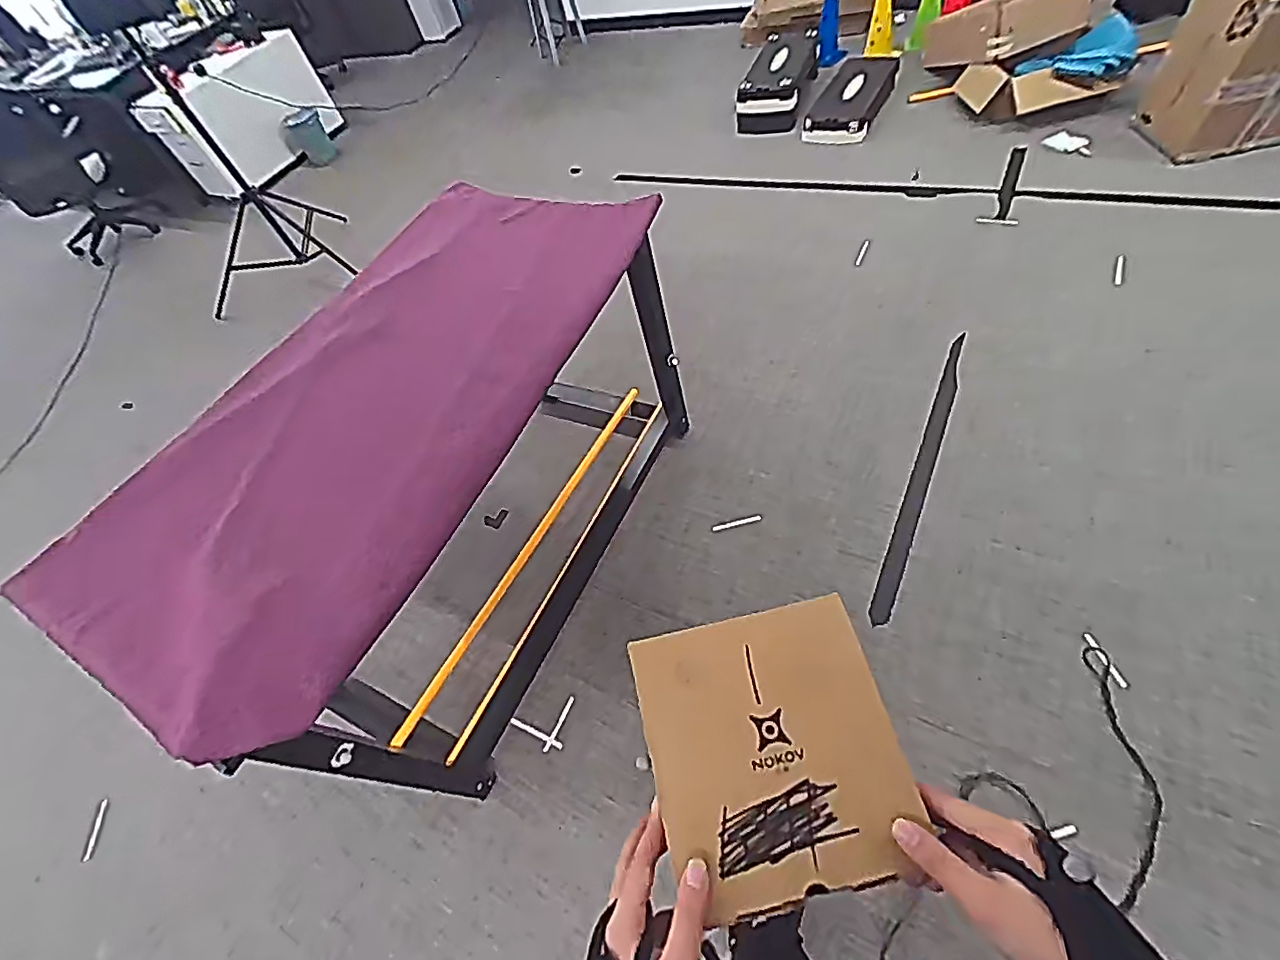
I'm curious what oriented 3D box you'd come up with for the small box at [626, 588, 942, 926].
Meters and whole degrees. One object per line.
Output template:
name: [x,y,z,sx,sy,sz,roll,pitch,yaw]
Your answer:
small box: [0.091,0.206,0.428,0.168,0.176,0.179,-12,62,-3]
